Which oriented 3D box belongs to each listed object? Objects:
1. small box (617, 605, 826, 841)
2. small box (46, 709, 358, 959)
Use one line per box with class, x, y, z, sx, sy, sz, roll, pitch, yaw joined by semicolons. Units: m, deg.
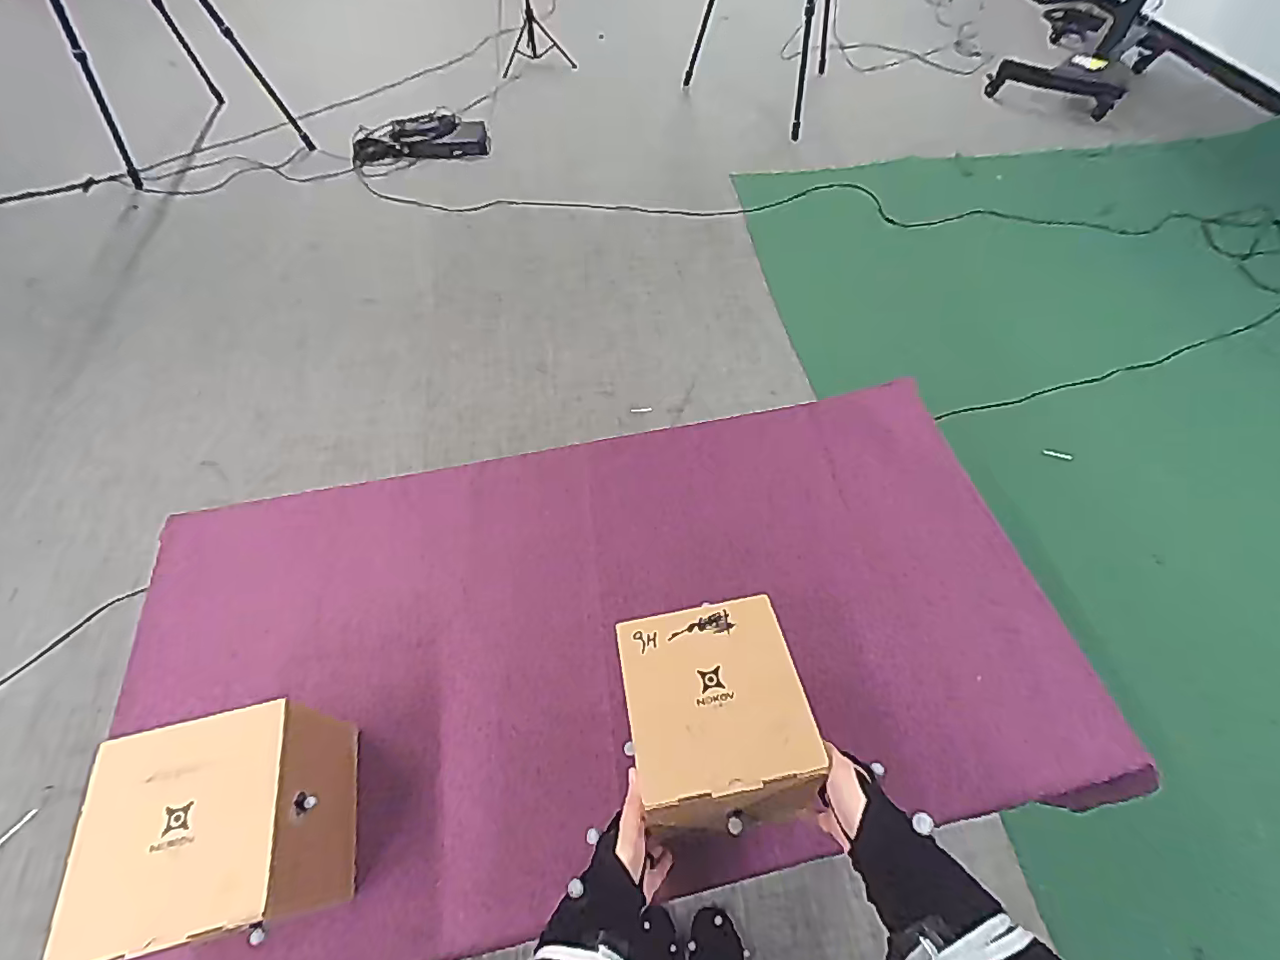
small box;0.076;0.261;0.570;0.168;0.176;0.179;-10;48;-3
small box;-0.399;0.349;0.535;0.168;0.176;0.179;-11;57;-8
